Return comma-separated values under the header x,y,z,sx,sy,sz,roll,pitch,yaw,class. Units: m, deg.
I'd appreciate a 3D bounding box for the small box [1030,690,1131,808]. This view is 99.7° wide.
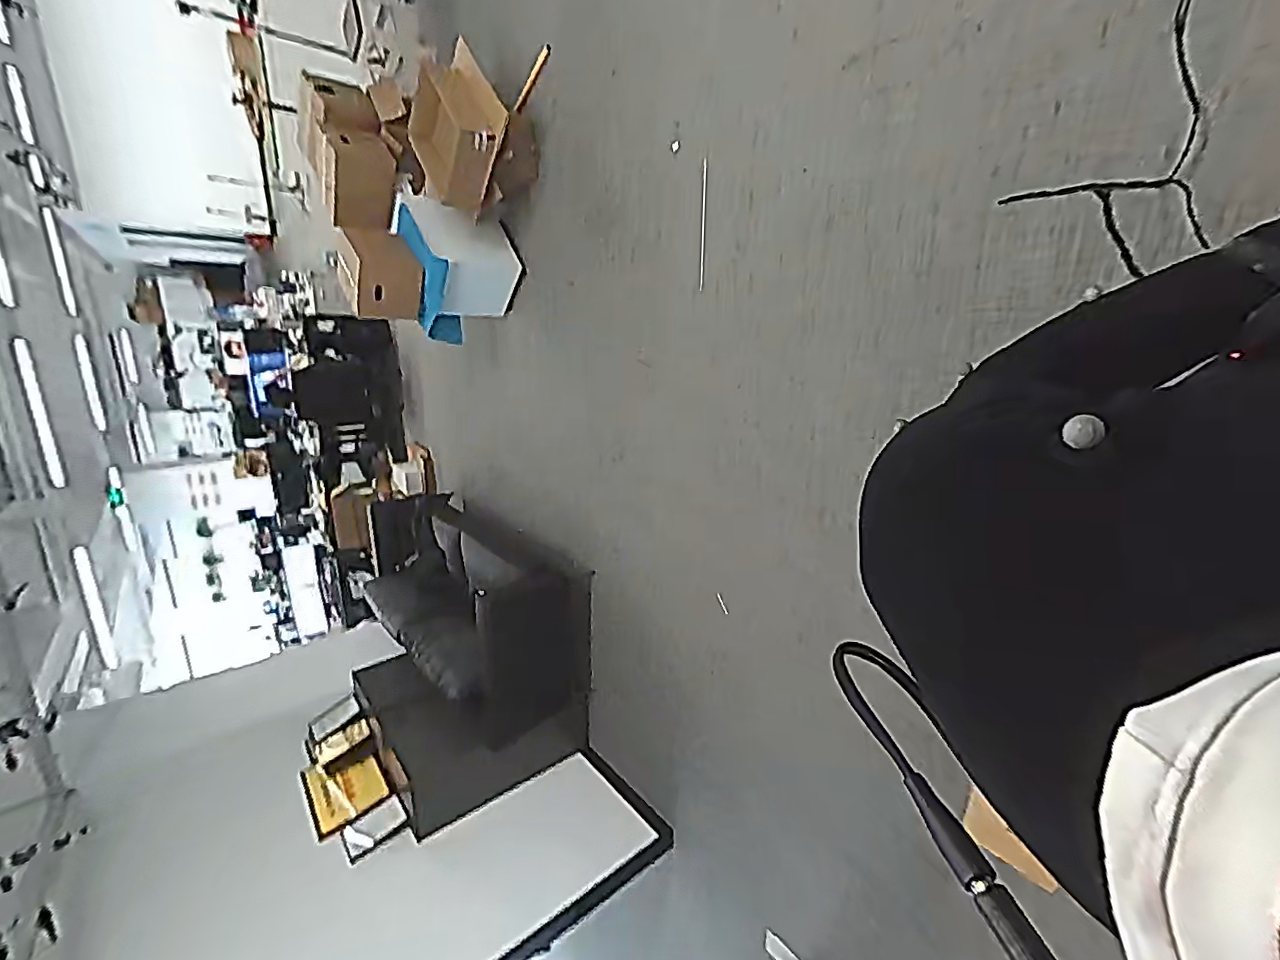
x,y,z,sx,sy,sz,roll,pitch,yaw,class
1.079,0.656,1.345,0.179,0.176,0.168,21,114,48,small box

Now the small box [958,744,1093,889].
x,y,z,sx,sy,sz,roll,pitch,yaw,class
0.819,0.699,1.152,0.179,0.176,0.168,21,115,47,small box

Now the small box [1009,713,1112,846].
x,y,z,sx,sy,sz,roll,pitch,yaw,class
0.951,0.676,1.245,0.168,0.176,0.179,23,116,47,small box
